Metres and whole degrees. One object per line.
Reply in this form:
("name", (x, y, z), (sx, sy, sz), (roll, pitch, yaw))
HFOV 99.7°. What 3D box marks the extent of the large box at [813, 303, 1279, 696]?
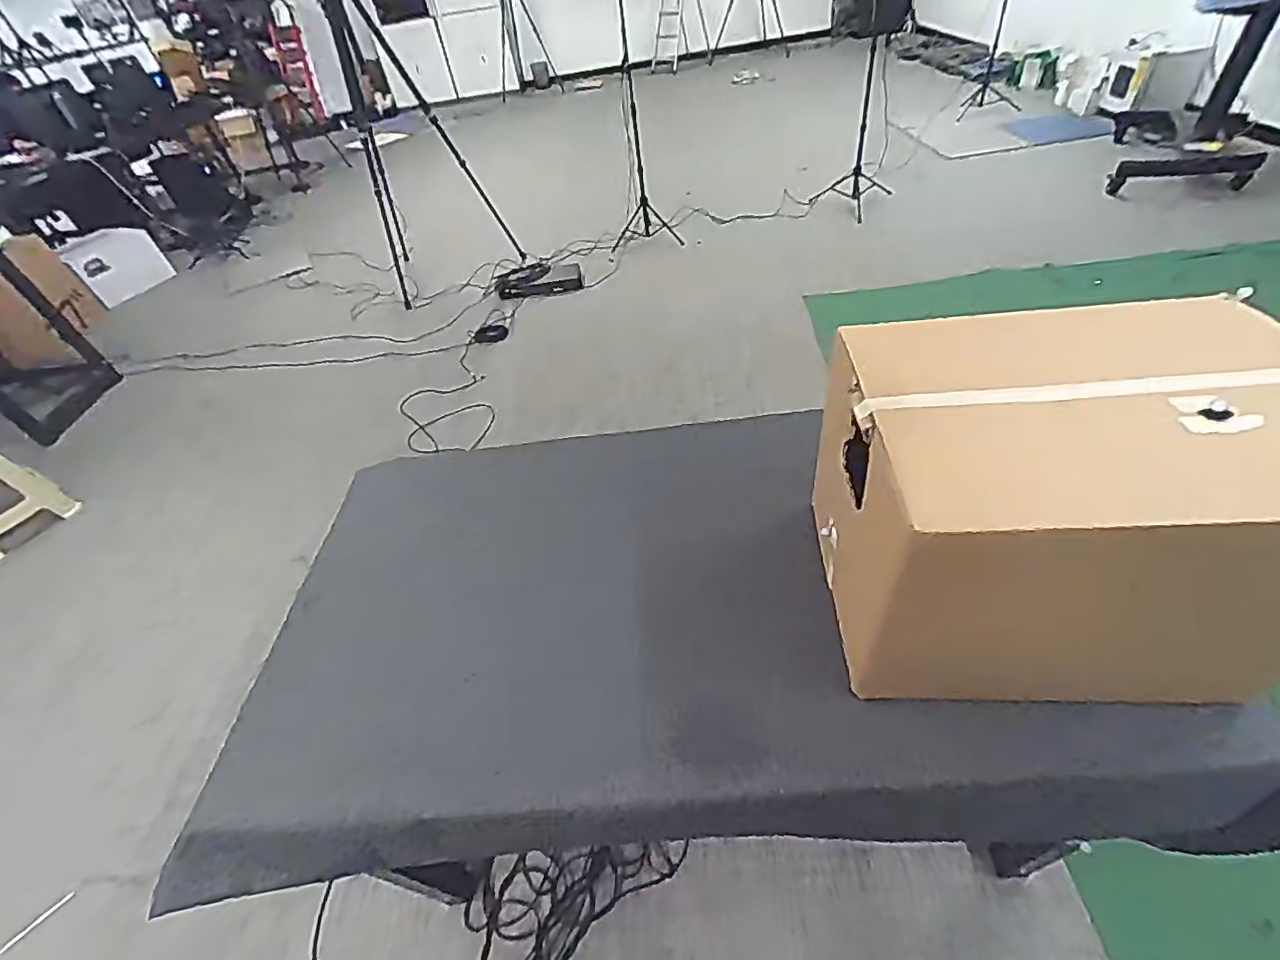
("large box", (0.439, 0.029, 0.607), (0.408, 0.320, 0.320), (-2, 45, 7))
